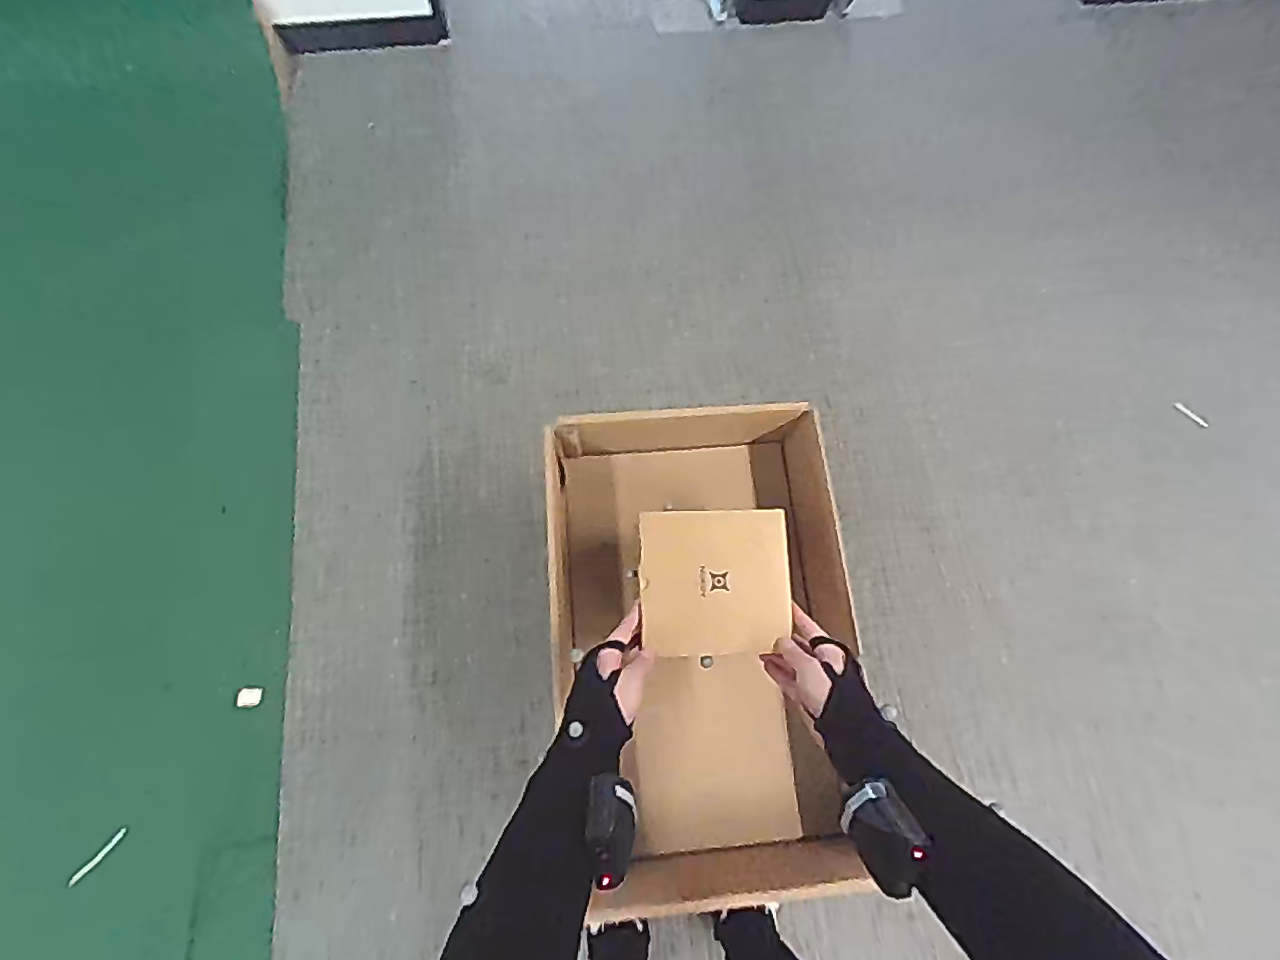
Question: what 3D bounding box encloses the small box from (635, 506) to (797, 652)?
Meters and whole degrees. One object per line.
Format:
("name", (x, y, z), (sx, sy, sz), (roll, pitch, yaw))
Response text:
("small box", (0.085, 0.123, 0.695), (0.179, 0.176, 0.168), (-1, 81, -2))
